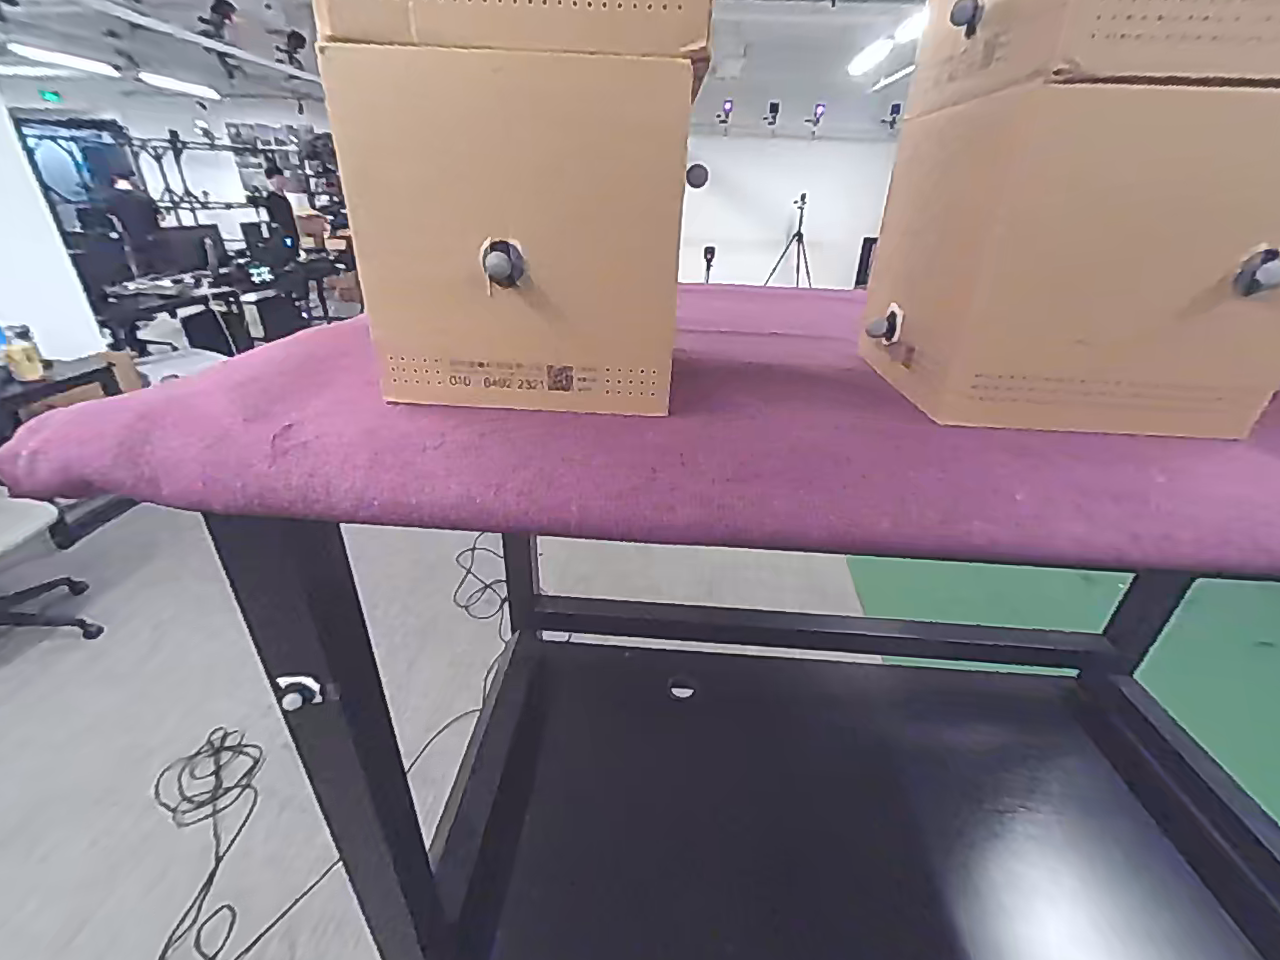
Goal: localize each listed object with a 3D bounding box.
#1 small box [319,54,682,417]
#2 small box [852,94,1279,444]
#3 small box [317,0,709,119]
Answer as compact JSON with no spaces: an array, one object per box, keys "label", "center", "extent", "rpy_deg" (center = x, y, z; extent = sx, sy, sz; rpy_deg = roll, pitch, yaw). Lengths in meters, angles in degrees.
[{"label":"small box","center":[-0.061,-0.148,0.347],"extent":[0.168,0.176,0.179],"rpy_deg":[4,28,0]},{"label":"small box","center":[0.260,-0.130,0.346],"extent":[0.179,0.176,0.168],"rpy_deg":[2,27,1]},{"label":"small box","center":[-0.052,-0.291,0.270],"extent":[0.179,0.176,0.168],"rpy_deg":[4,29,0]}]
